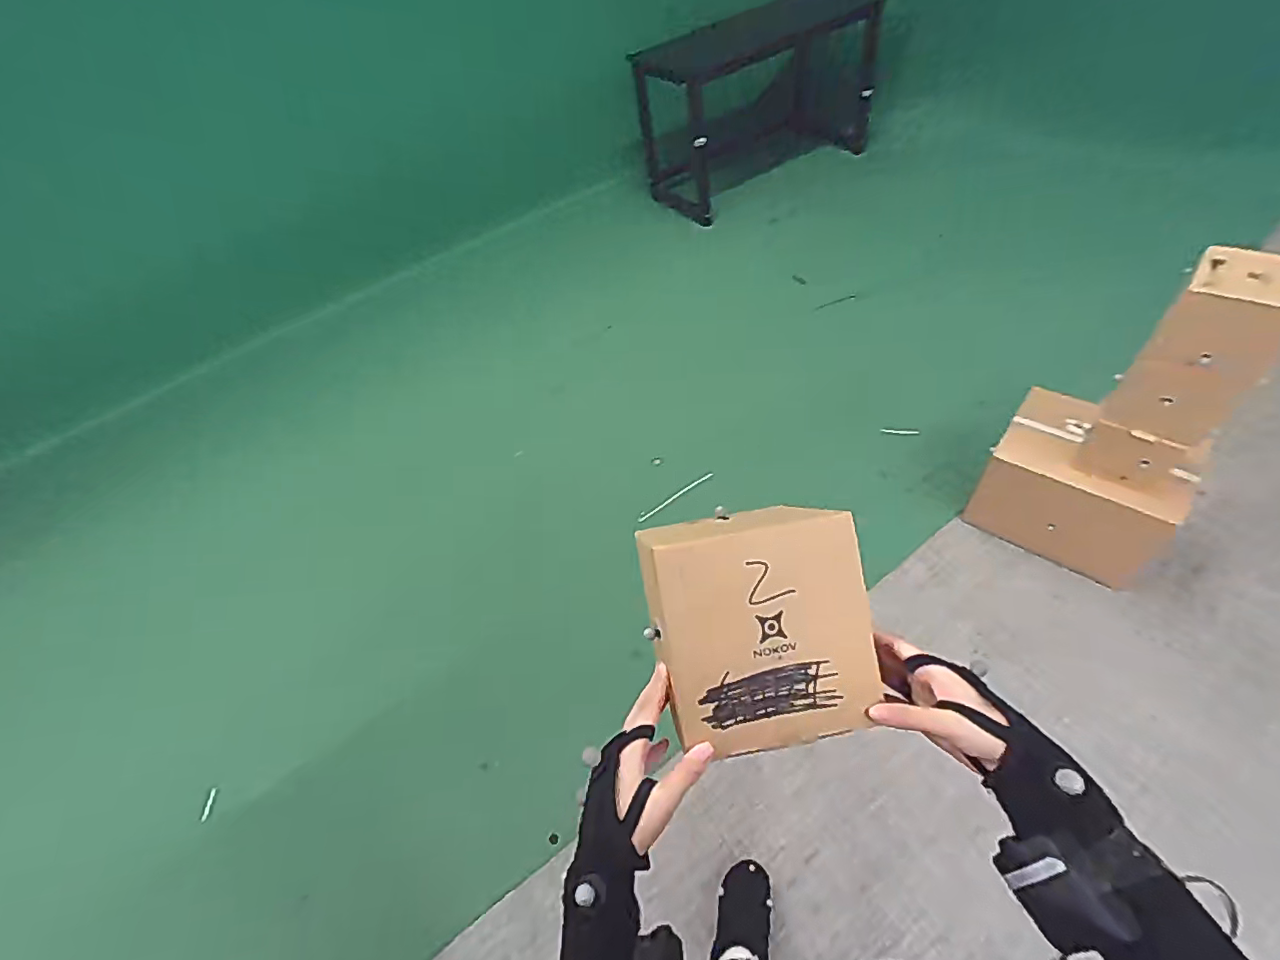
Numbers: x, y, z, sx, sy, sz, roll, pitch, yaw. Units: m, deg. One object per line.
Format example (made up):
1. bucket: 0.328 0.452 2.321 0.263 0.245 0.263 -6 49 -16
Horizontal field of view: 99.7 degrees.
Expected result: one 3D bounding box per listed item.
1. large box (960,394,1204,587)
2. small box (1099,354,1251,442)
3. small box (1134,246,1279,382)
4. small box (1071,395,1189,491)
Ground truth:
1. large box: 1.188 0.023 1.495 0.408 0.320 0.320 28 61 32
2. small box: 1.145 -0.207 1.158 0.179 0.176 0.168 29 62 31
3. small box: 1.116 -0.313 1.035 0.179 0.176 0.168 30 63 30
4. small box: 1.169 -0.104 1.283 0.168 0.176 0.179 30 63 31
